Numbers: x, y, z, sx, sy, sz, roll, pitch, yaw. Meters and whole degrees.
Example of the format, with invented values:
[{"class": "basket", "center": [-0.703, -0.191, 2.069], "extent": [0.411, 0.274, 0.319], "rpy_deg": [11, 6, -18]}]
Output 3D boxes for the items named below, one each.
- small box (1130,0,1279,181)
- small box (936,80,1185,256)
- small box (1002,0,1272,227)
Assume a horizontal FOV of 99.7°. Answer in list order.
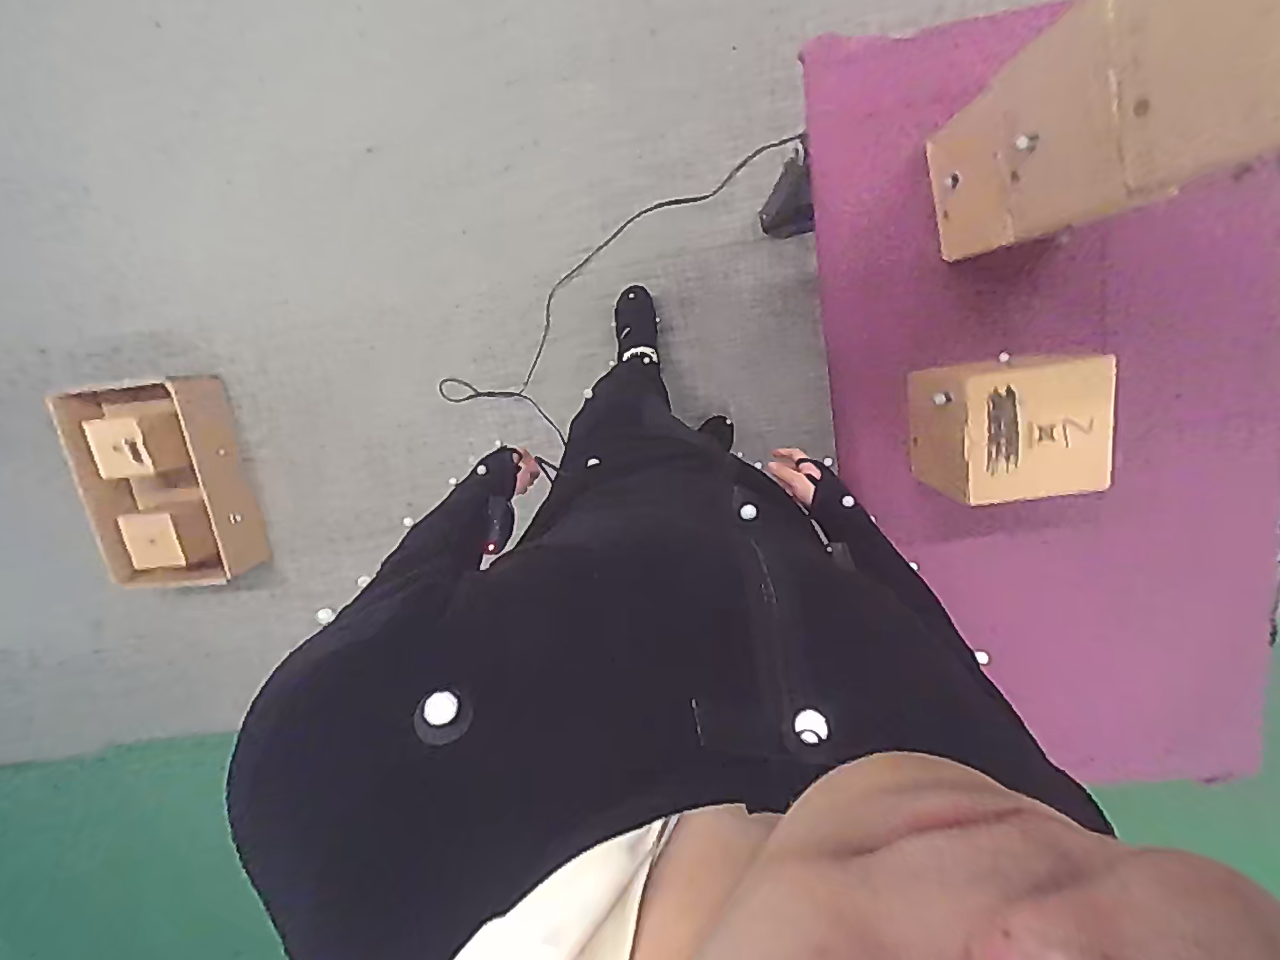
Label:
[{"class": "small box", "center": [0.467, -0.318, 0.340], "extent": [0.179, 0.176, 0.168], "rpy_deg": [-13, 102, 8]}, {"class": "small box", "center": [0.496, -0.389, 0.659], "extent": [0.179, 0.176, 0.168], "rpy_deg": [-14, 102, 9]}, {"class": "small box", "center": [0.479, -0.357, 0.499], "extent": [0.179, 0.176, 0.168], "rpy_deg": [-15, 102, 9]}]
